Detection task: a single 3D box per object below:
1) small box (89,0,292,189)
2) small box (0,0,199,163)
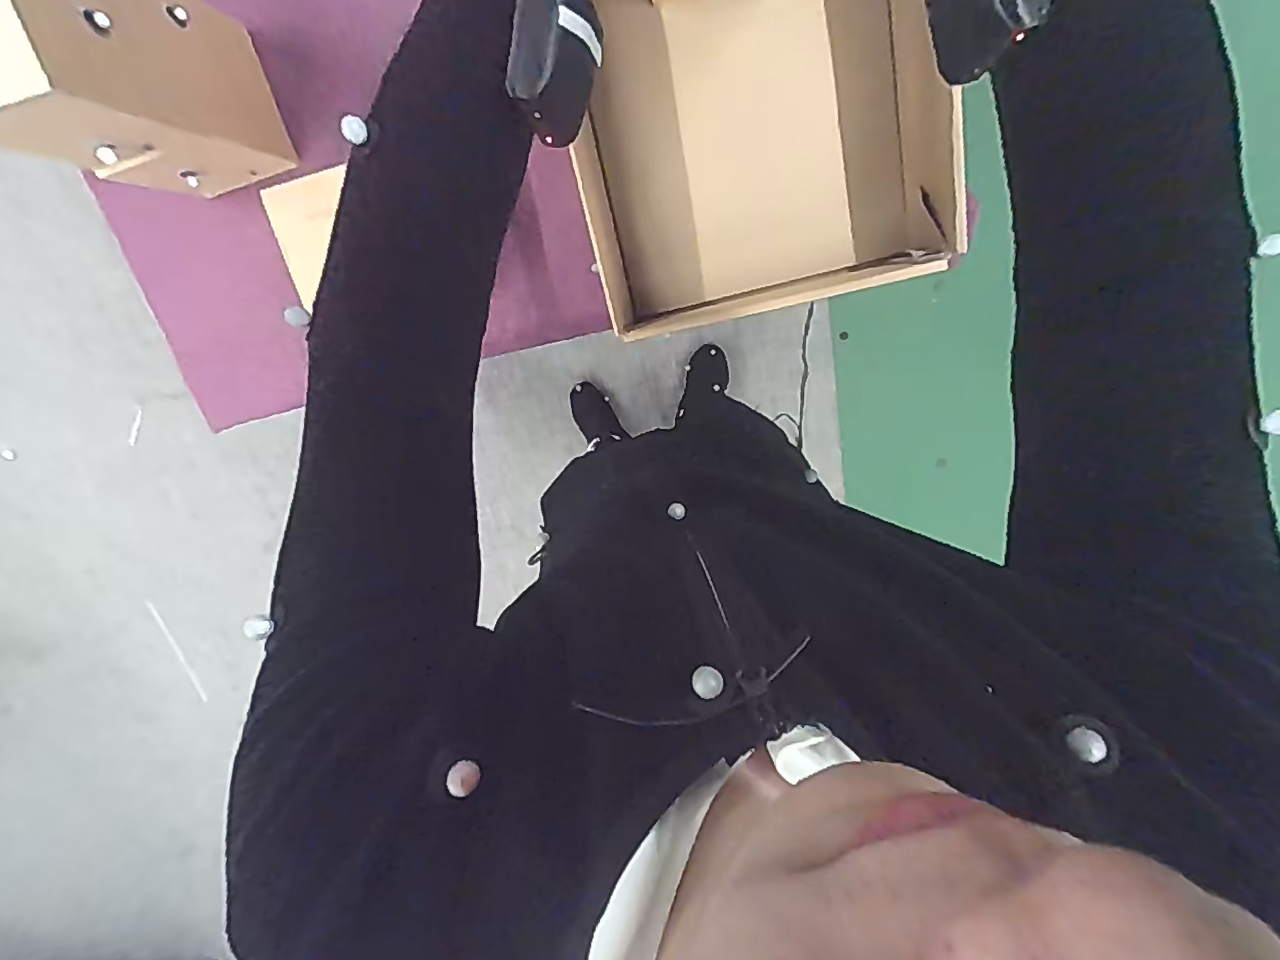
[{"bbox_3d":[-0.601,-0.496,0.699,0.168,0.176,0.179,-12,106,10],"label":"small box"},{"bbox_3d":[-0.610,-0.447,0.542,0.168,0.176,0.179,-8,108,8],"label":"small box"}]
